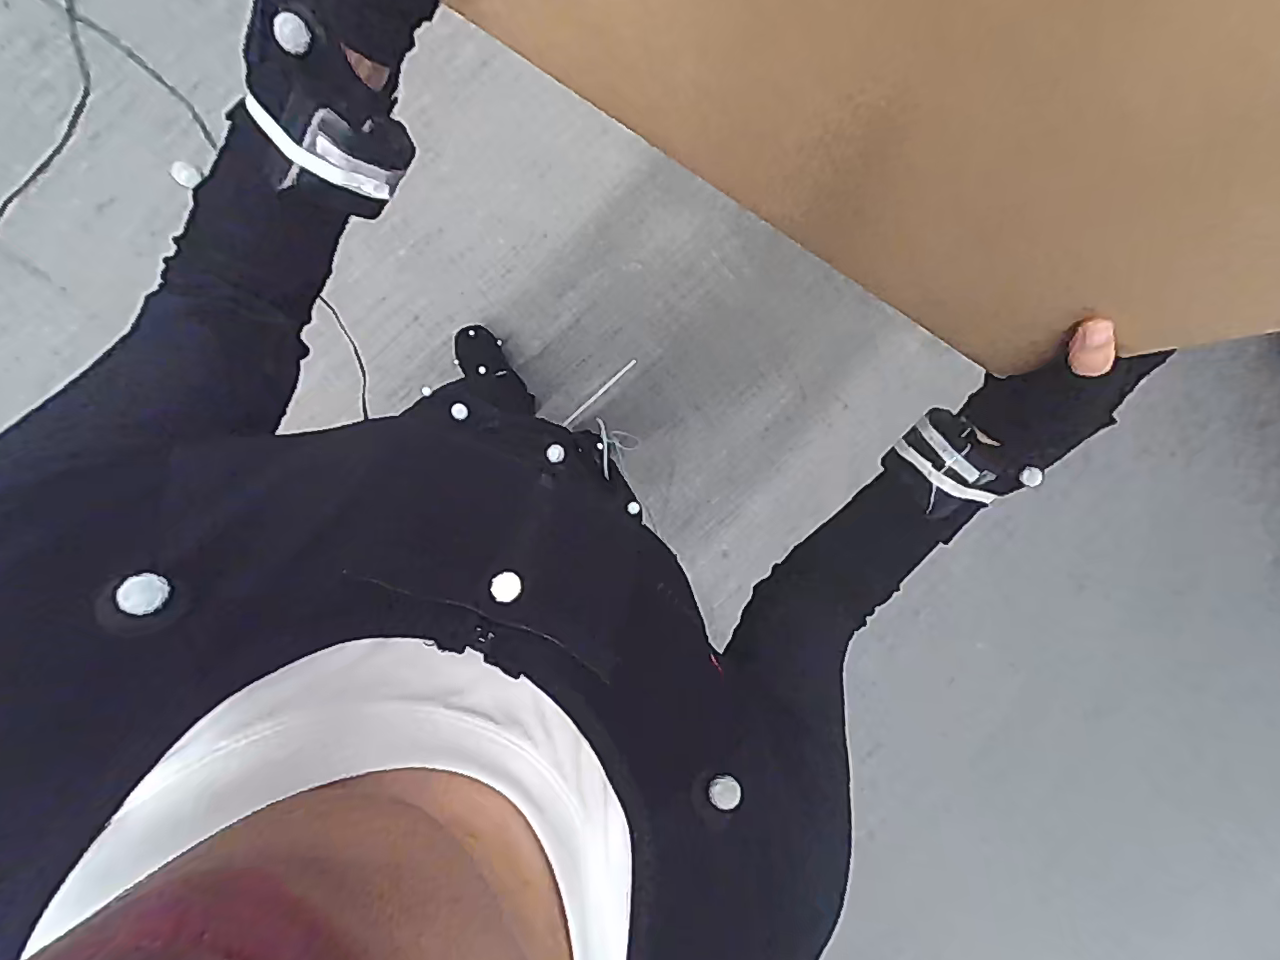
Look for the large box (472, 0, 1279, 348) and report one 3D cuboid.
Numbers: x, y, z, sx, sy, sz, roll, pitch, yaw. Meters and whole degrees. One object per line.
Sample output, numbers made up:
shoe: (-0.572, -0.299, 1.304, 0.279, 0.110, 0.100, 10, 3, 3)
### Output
large box: (0.177, -0.297, 0.189, 0.408, 0.320, 0.320, 24, 86, -16)
